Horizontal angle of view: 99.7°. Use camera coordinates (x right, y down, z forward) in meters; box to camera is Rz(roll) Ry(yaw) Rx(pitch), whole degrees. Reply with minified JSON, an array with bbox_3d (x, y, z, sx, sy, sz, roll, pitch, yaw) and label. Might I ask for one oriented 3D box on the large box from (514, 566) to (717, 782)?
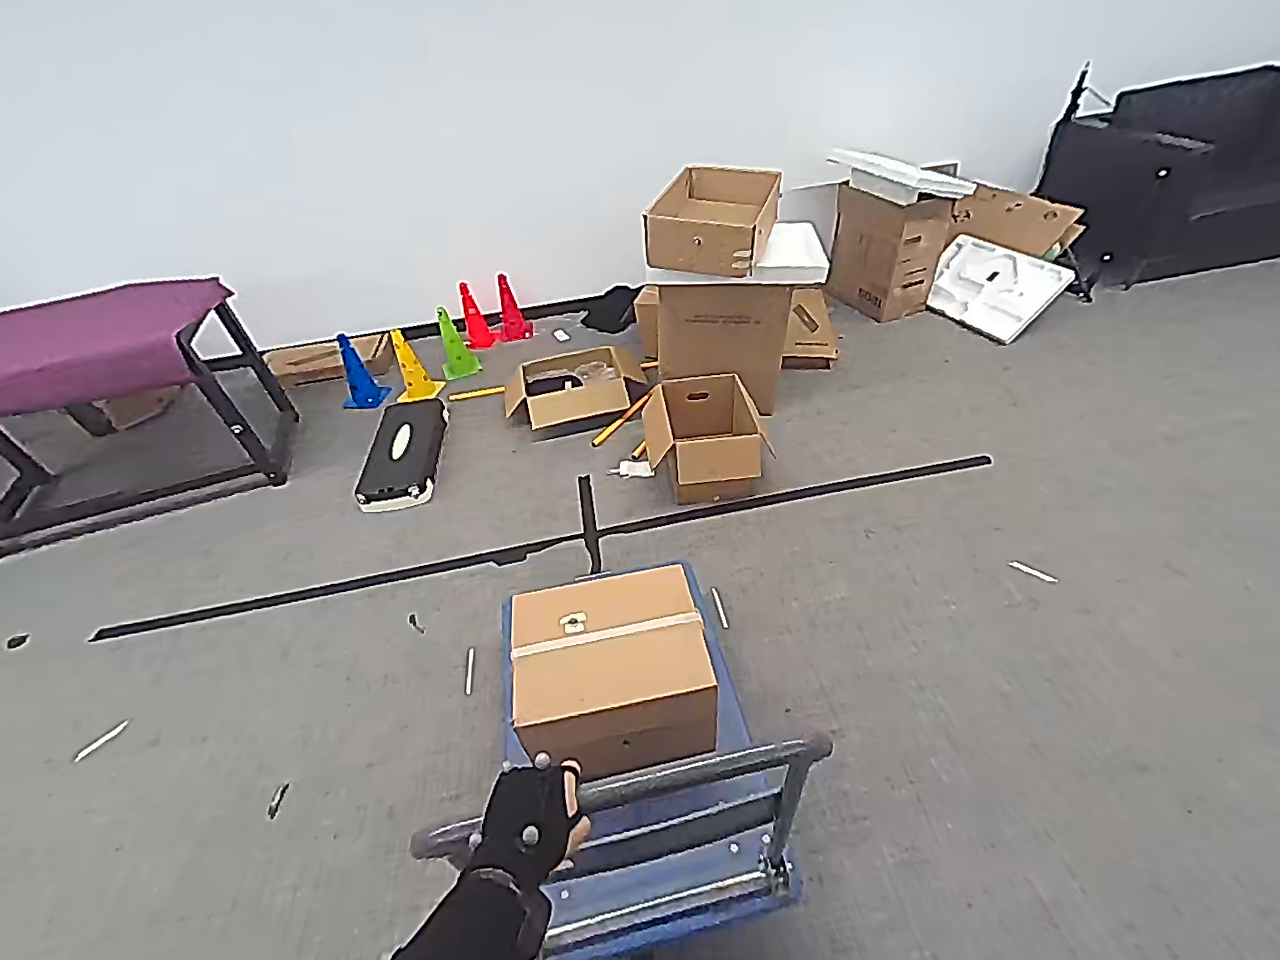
[{"bbox_3d":[-0.056,0.453,1.269,0.408,0.320,0.320,-12,41,-4],"label":"large box"}]
